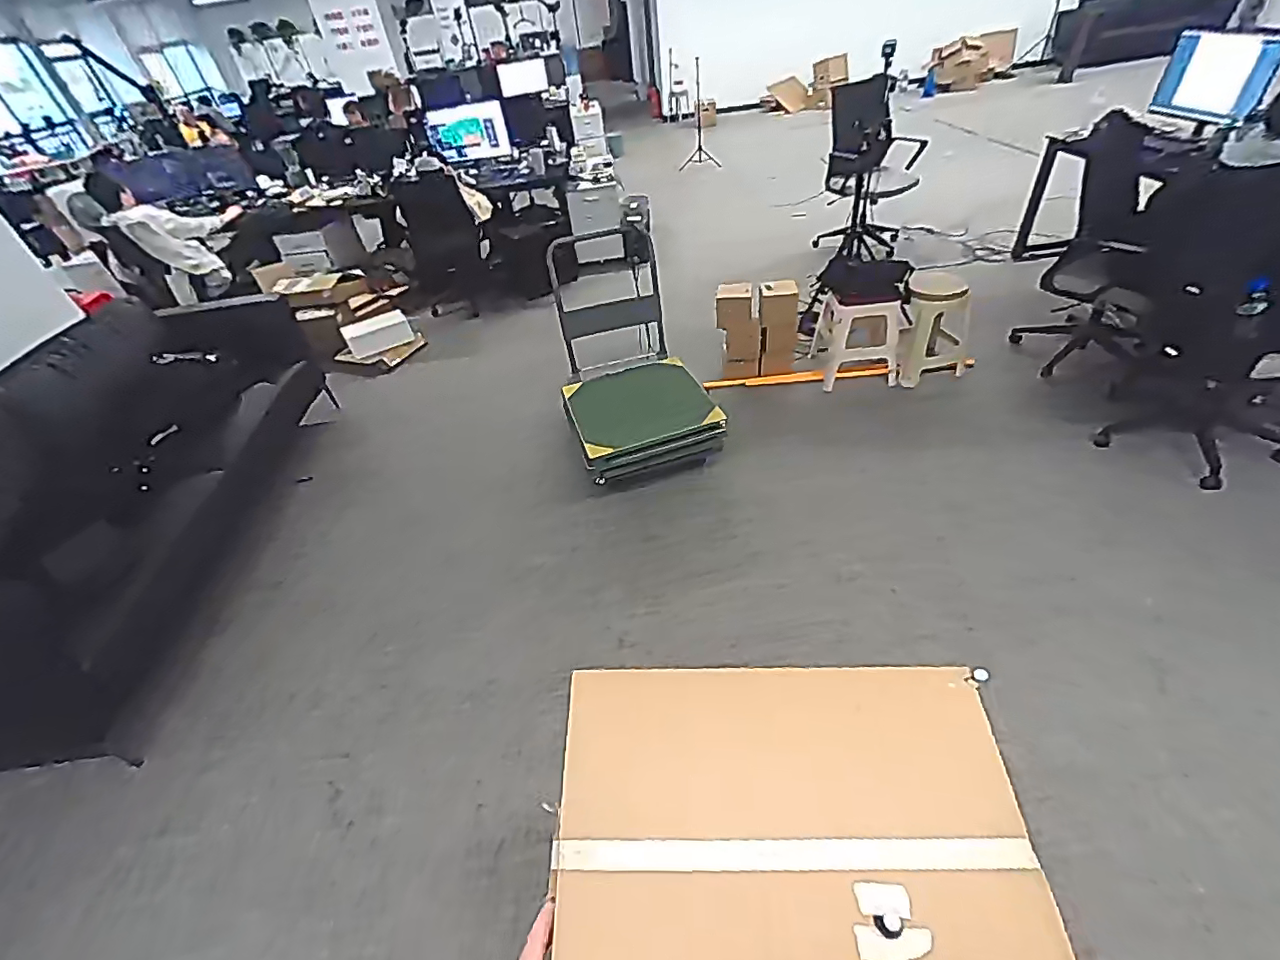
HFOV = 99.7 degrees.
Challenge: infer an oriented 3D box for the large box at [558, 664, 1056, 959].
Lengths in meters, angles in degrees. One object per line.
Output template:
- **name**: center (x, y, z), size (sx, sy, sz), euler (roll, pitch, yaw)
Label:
- **large box**: center (0.132, 0.410, 0.593), size (0.408, 0.320, 0.320), euler (-2, 55, 1)
